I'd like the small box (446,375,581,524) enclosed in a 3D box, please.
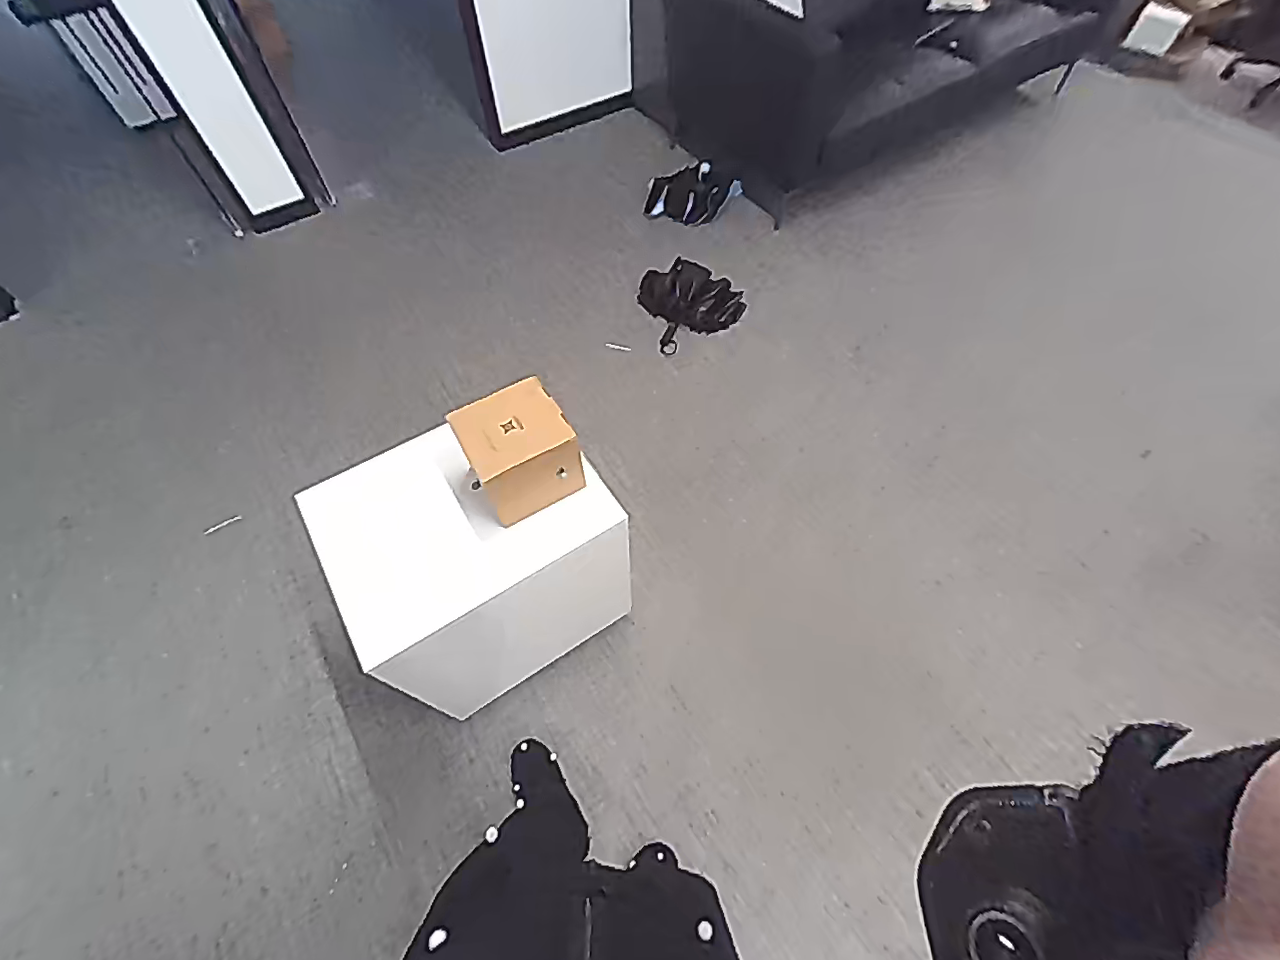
[{"bbox_3d":[-0.219,-0.052,0.983,0.179,0.176,0.168,-29,62,-15],"label":"small box"}]
